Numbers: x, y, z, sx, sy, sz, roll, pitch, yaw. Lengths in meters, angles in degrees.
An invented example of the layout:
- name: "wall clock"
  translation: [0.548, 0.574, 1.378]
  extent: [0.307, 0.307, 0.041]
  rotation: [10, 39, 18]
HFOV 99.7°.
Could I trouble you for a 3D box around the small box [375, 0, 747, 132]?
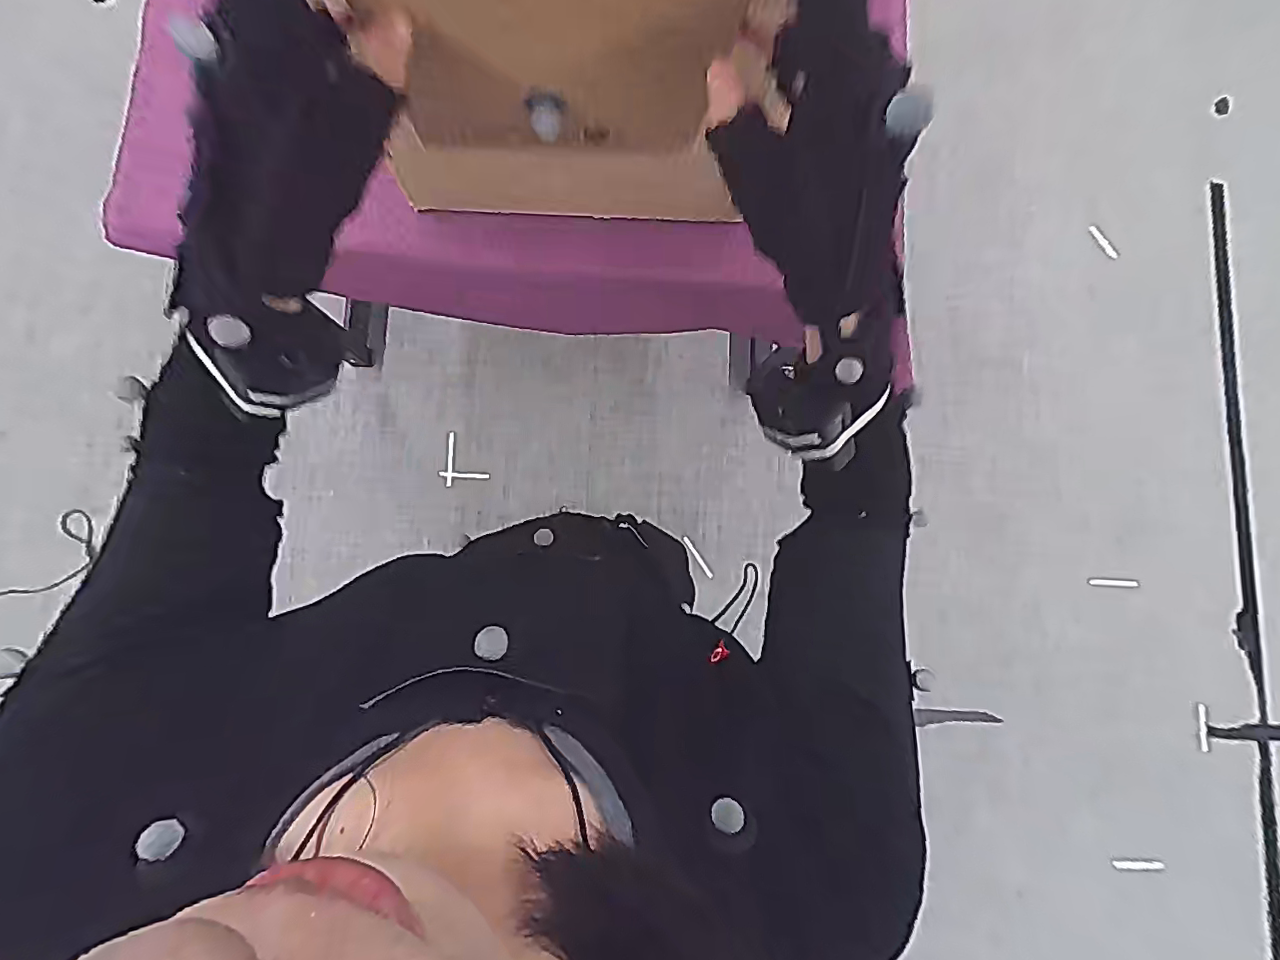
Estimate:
- name: "small box"
  translation: [-0.037, -0.284, 0.222]
  extent: [0.168, 0.176, 0.179]
  rotation: [-2, 95, -6]
